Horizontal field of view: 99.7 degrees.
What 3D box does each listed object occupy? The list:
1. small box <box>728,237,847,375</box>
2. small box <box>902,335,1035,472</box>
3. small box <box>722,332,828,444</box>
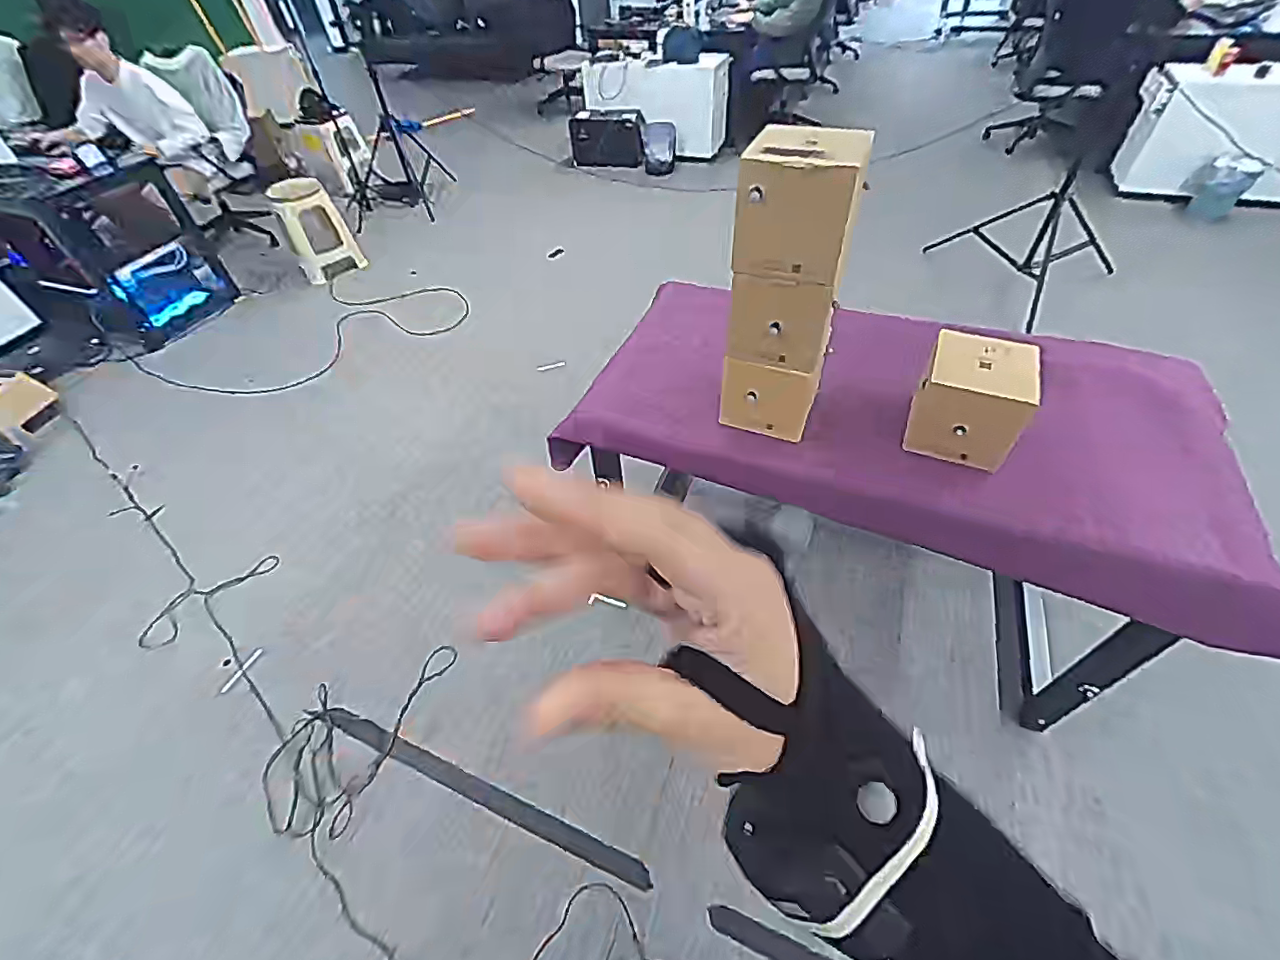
[{"bbox_3d":[0.261,-0.314,0.978,0.168,0.176,0.179,15,50,16],"label":"small box"},{"bbox_3d":[0.610,-0.142,1.017,0.168,0.176,0.179,18,51,19],"label":"small box"},{"bbox_3d":[0.268,-0.199,1.095,0.168,0.176,0.179,16,50,18],"label":"small box"}]
